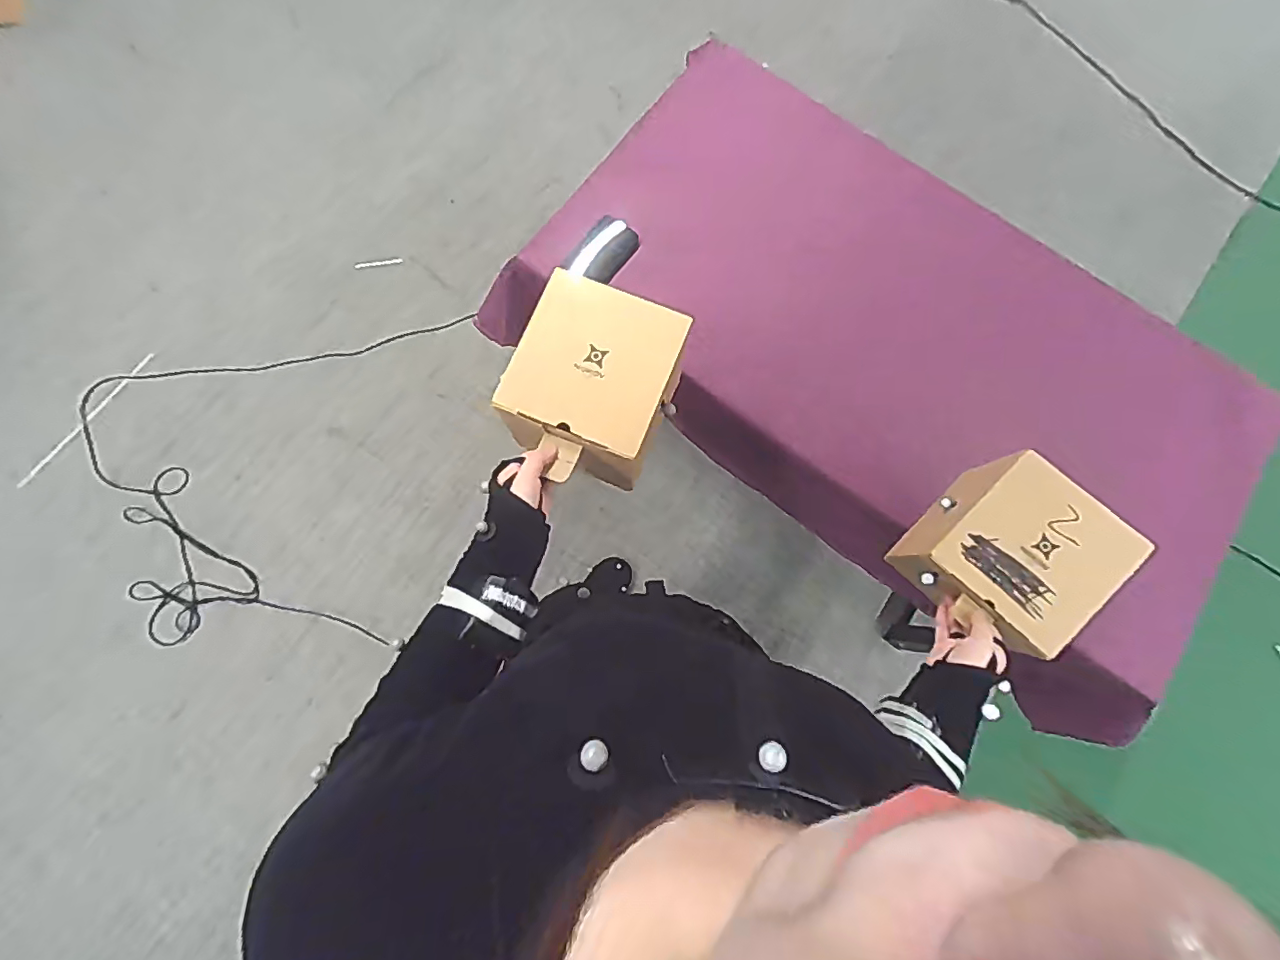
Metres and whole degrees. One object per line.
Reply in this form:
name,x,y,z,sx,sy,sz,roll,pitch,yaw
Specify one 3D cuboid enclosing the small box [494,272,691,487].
small box,-0.053,-0.111,0.663,0.168,0.176,0.179,22,79,3
